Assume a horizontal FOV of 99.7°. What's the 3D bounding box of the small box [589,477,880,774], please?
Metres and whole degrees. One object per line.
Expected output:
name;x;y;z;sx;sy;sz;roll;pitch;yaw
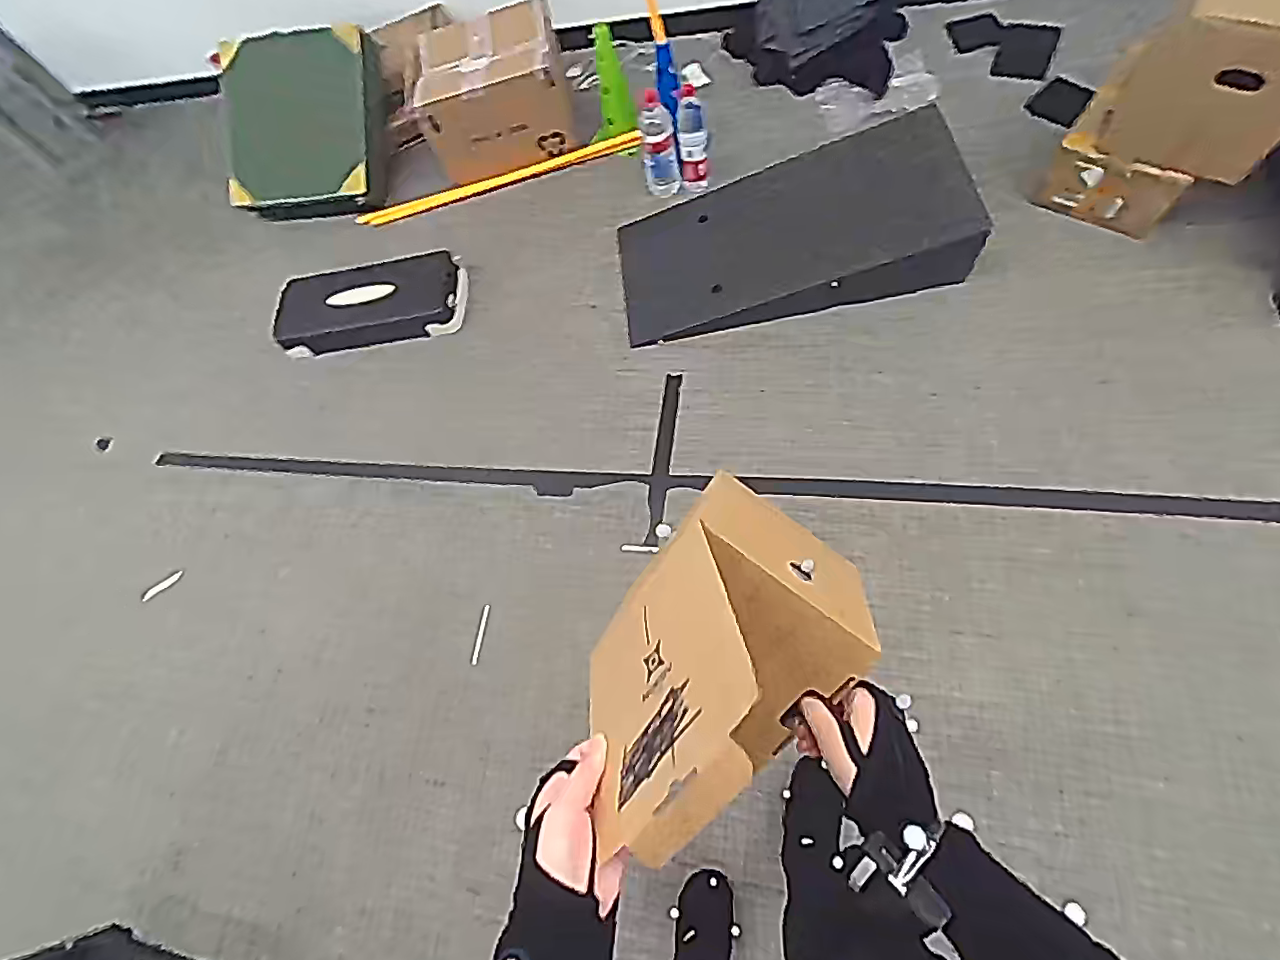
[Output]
small box;0.088;0.117;0.507;0.179;0.176;0.168;37;109;5
